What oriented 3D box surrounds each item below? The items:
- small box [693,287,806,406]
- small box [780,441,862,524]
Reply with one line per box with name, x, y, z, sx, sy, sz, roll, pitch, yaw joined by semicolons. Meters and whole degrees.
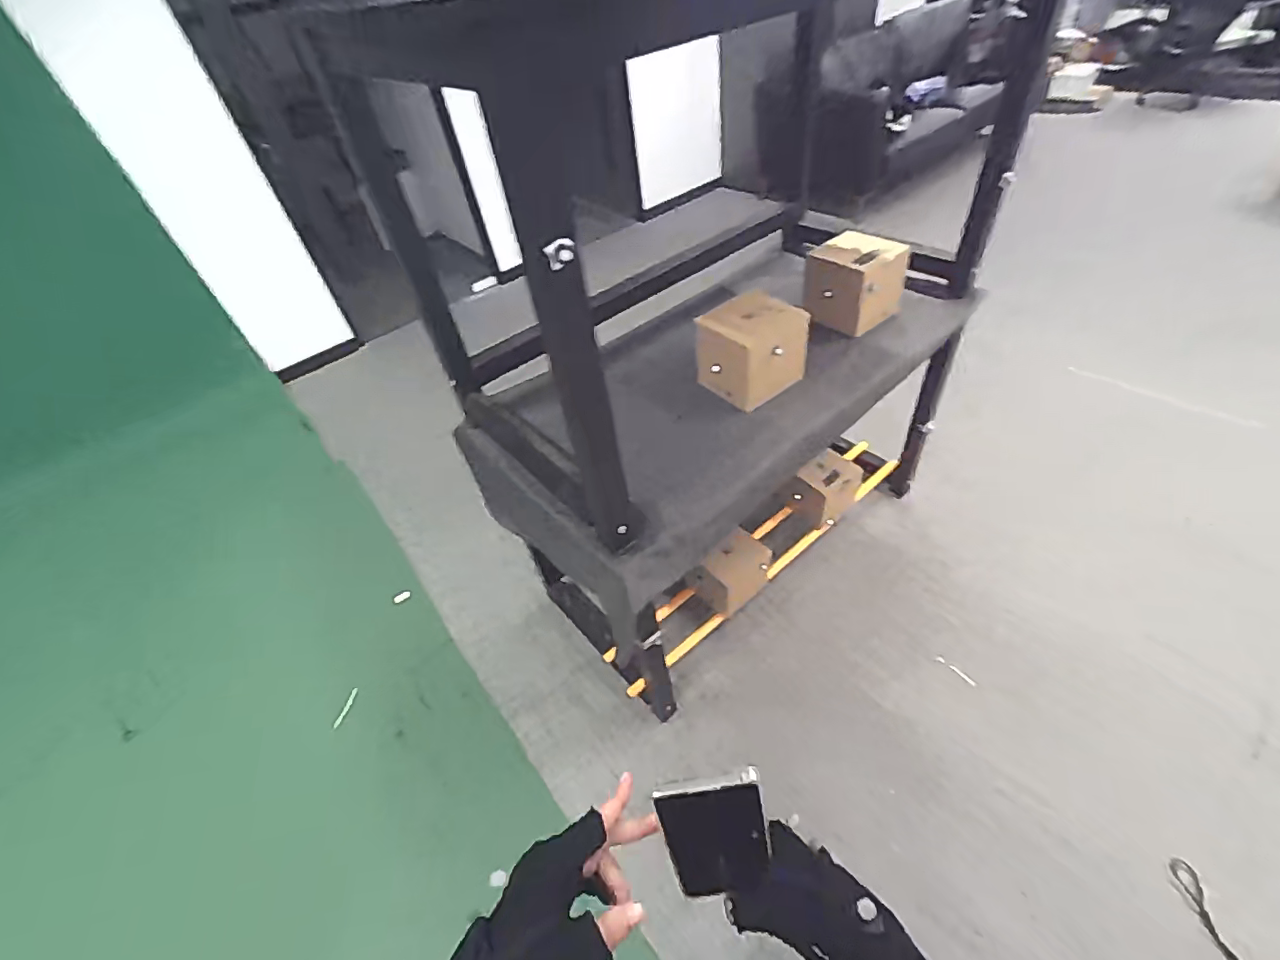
small box;0.239;-0.289;1.178;0.179;0.176;0.168;-32;49;-21
small box;0.563;0.015;1.703;0.168;0.176;0.179;-32;49;-20
